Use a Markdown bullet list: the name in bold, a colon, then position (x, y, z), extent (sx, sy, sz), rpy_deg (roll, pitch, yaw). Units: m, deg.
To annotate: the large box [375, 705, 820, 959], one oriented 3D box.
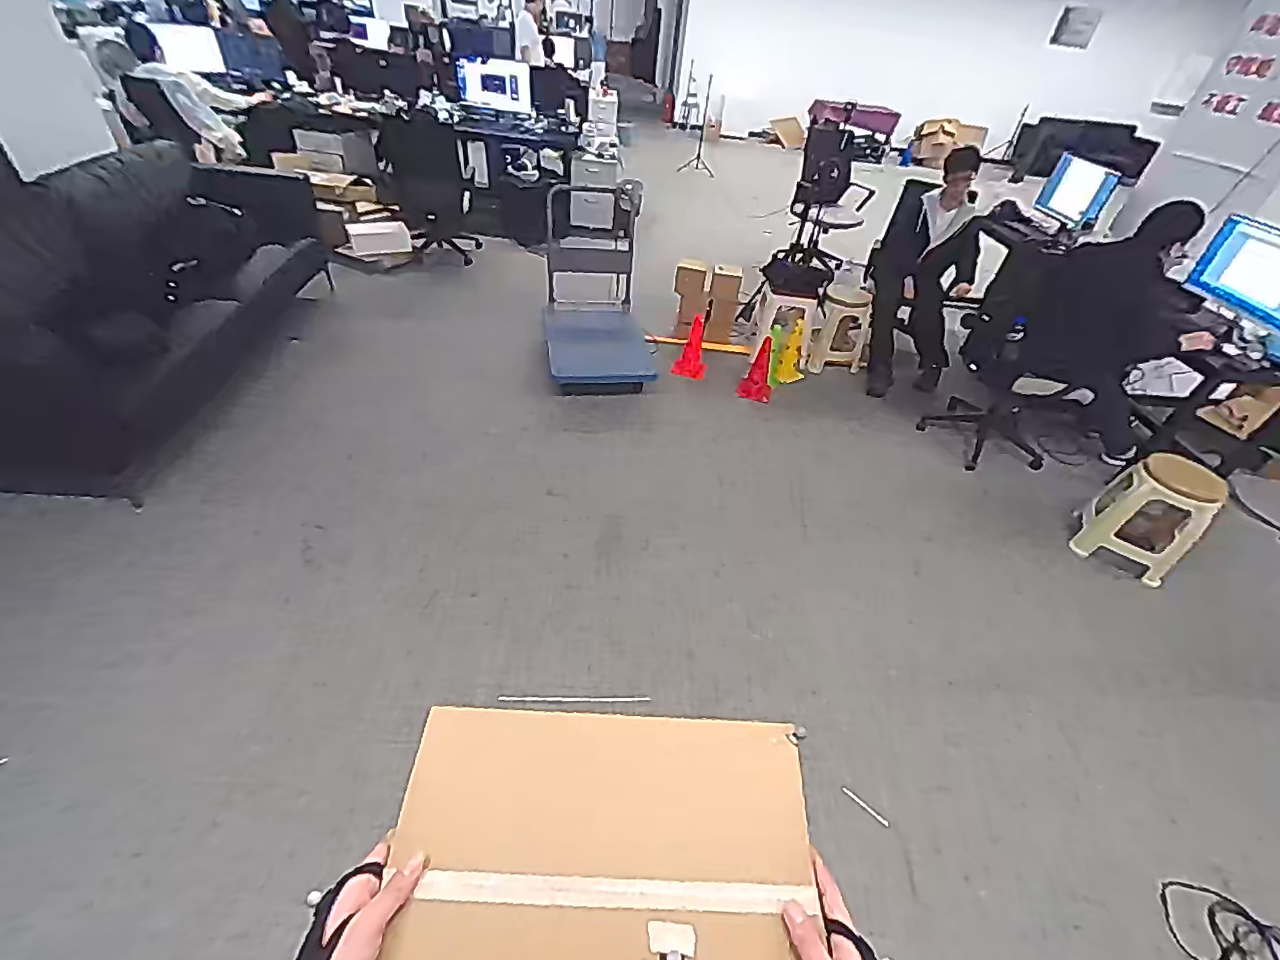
- **large box**: position (-0.042, 0.477, 0.630), extent (0.408, 0.320, 0.320), rpy_deg (3, 51, -1)
